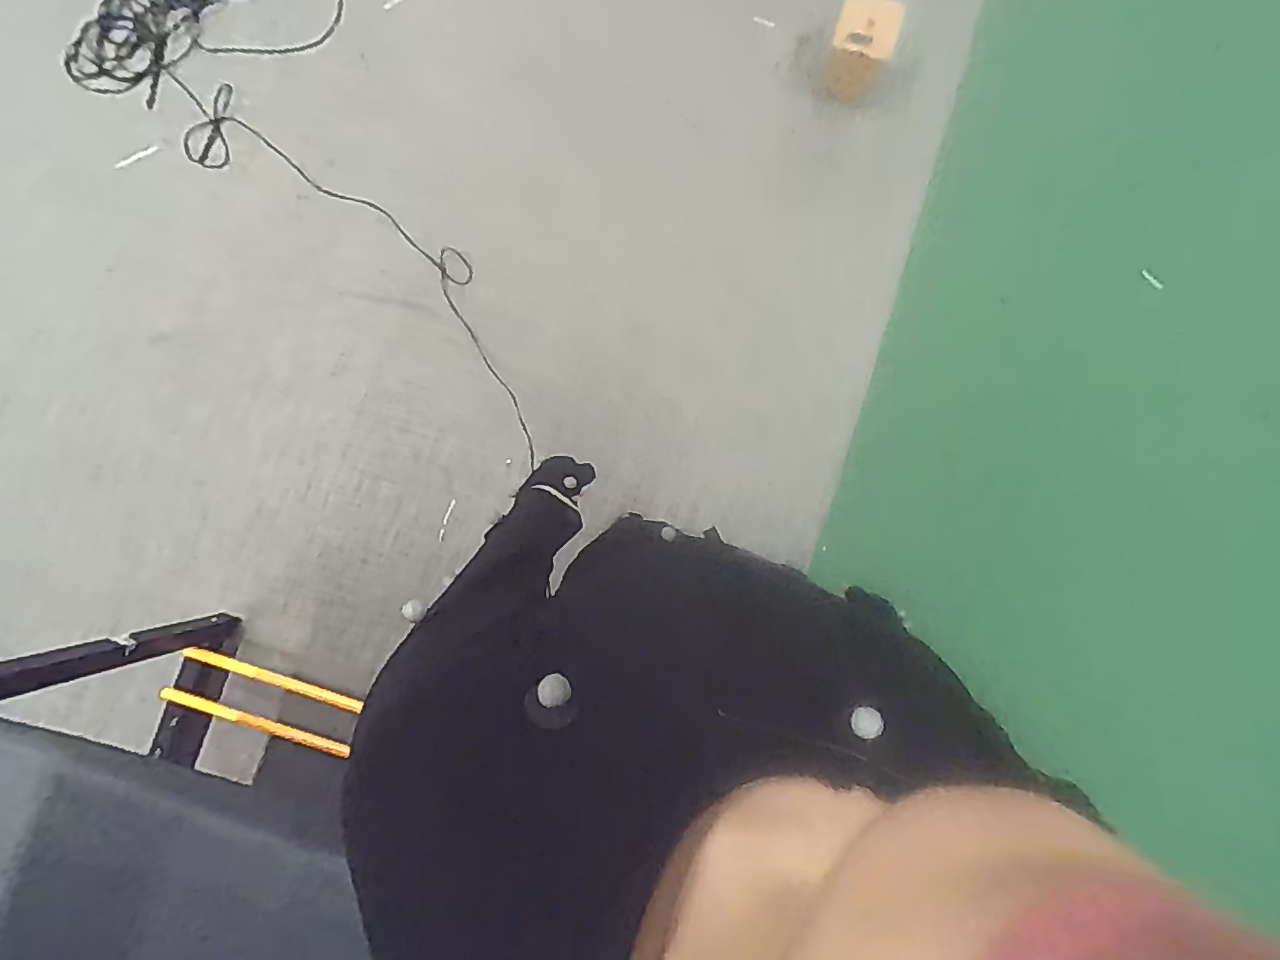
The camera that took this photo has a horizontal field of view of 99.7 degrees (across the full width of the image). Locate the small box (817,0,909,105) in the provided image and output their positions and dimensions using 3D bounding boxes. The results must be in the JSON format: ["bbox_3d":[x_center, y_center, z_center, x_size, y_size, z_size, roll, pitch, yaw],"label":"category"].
[{"bbox_3d":[0.613,-1.200,1.510,0.168,0.176,0.179,17,86,1],"label":"small box"}]
